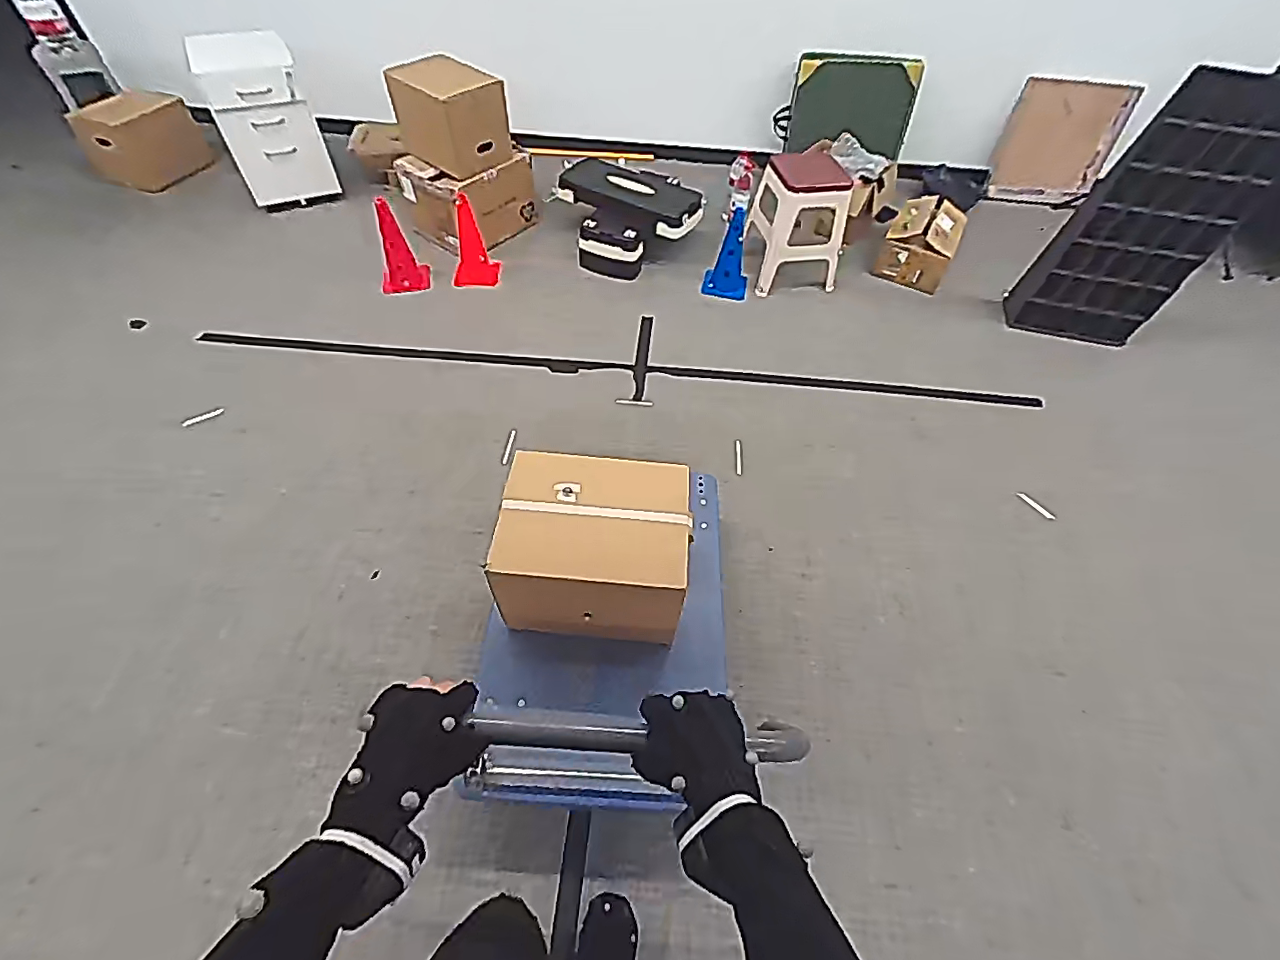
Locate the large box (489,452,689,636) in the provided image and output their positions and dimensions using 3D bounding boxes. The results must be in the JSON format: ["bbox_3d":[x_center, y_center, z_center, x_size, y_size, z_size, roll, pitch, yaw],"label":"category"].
[{"bbox_3d":[-0.098,0.160,1.283,0.408,0.320,0.320,5,53,1],"label":"large box"}]
